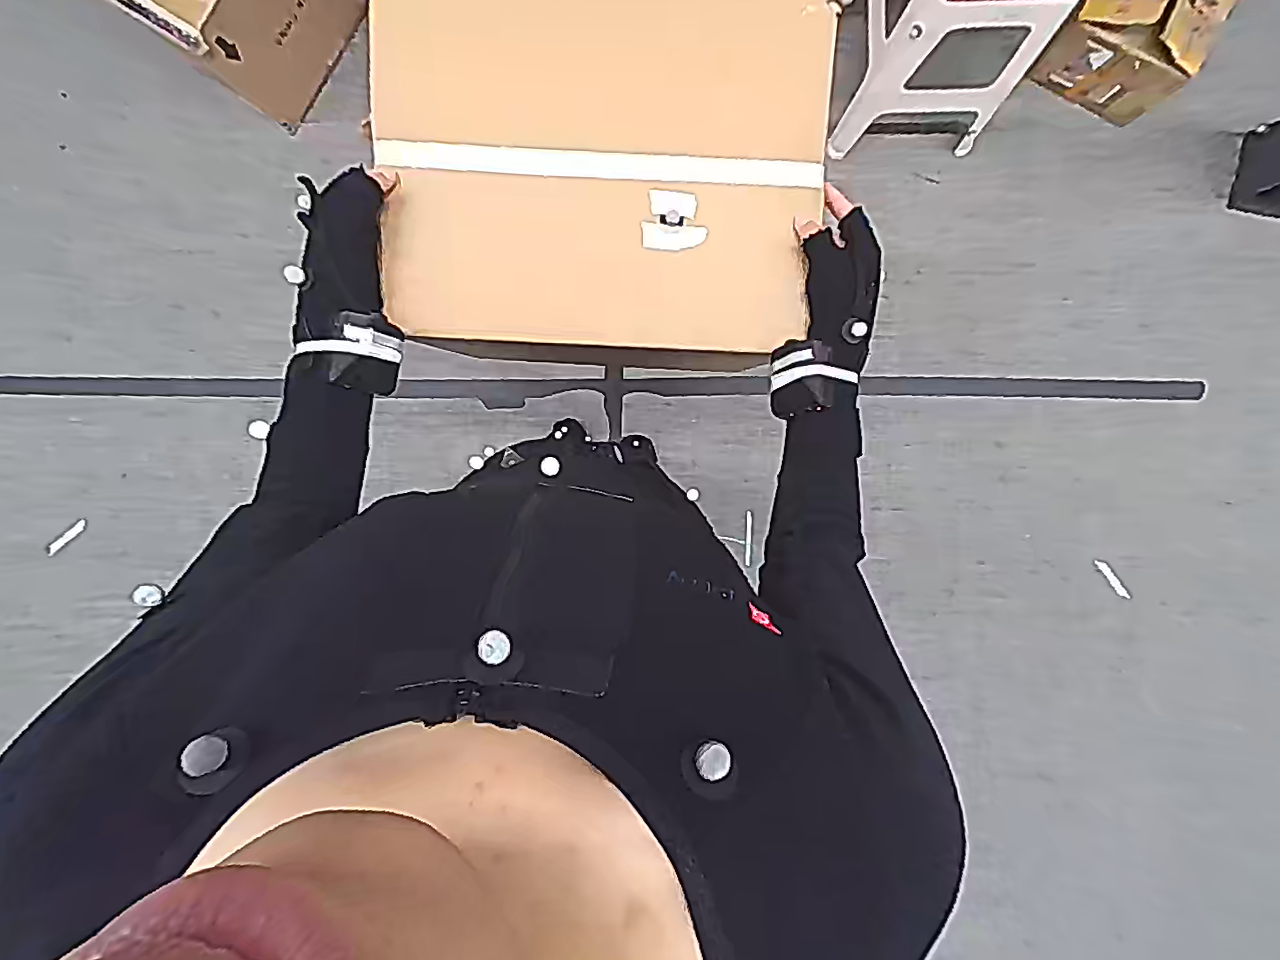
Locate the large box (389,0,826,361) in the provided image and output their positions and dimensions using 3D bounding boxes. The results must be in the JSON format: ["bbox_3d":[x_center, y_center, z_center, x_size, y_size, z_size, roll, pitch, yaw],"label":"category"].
[{"bbox_3d":[-0.038,-0.316,0.655,0.408,0.320,0.320,2,99,-3],"label":"large box"}]
